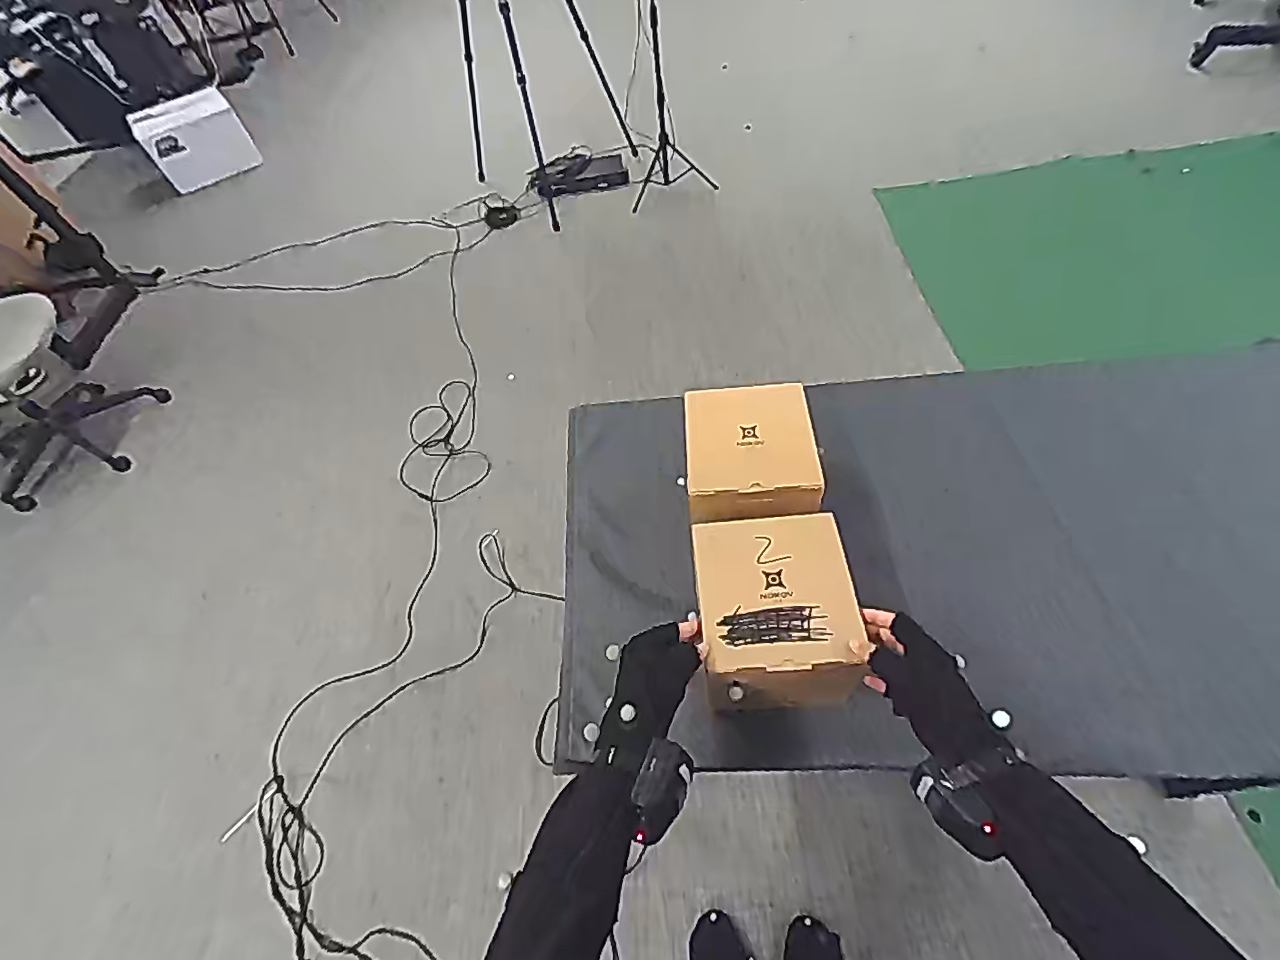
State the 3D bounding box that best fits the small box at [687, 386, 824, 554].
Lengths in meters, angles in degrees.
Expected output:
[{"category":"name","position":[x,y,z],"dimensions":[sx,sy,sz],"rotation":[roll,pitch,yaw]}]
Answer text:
[{"category":"small box","position":[0.152,-0.011,0.774],"dimensions":[0.168,0.176,0.179],"rotation":[-4,56,6]}]
